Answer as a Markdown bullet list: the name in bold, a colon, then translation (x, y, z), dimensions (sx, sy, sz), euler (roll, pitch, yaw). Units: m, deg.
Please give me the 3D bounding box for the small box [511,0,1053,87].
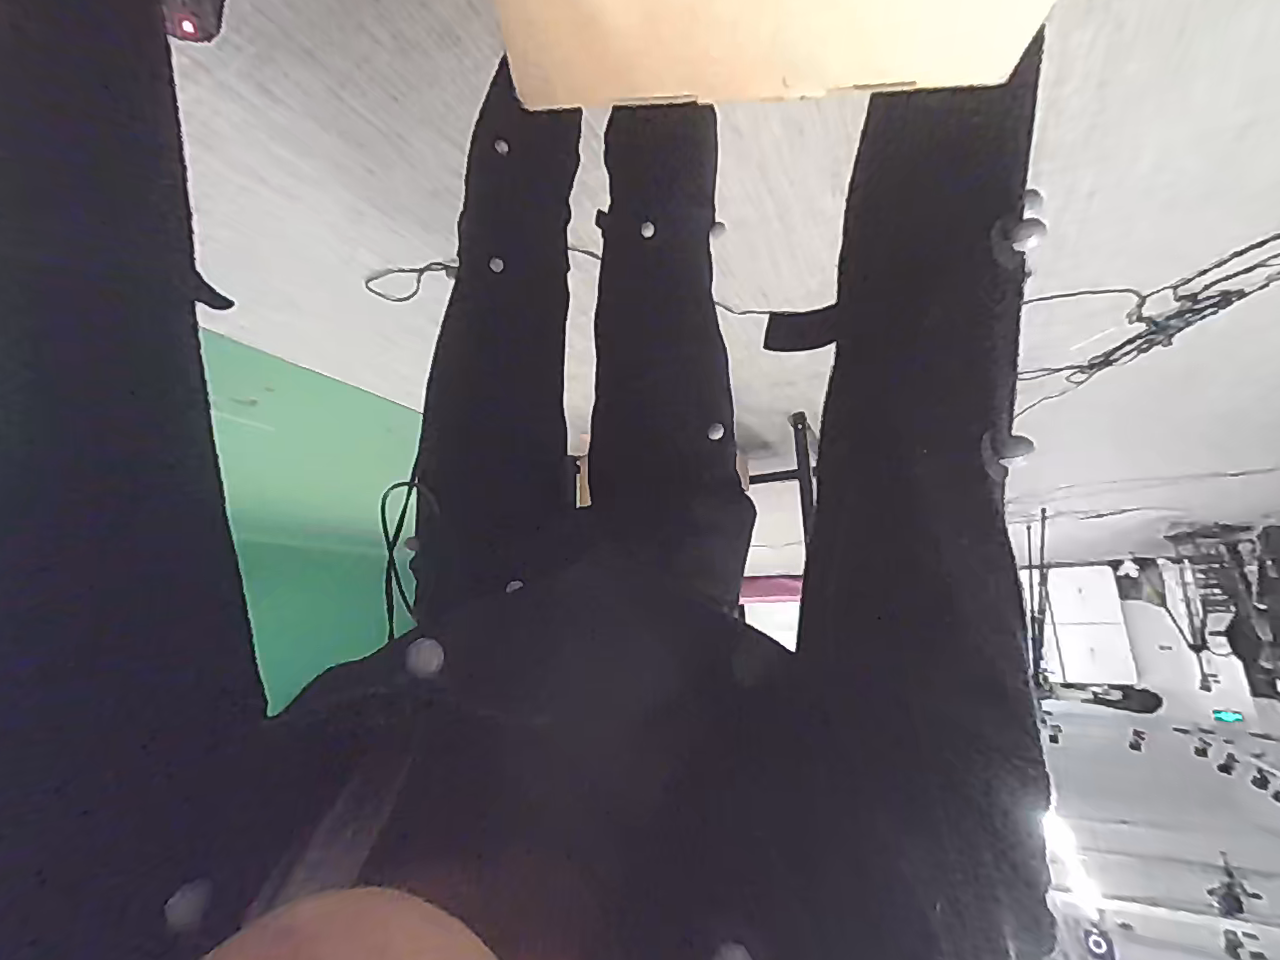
- **small box**: translation (0.038, -0.238, 0.121), dimensions (0.168, 0.176, 0.179), euler (-2, 164, 1)
